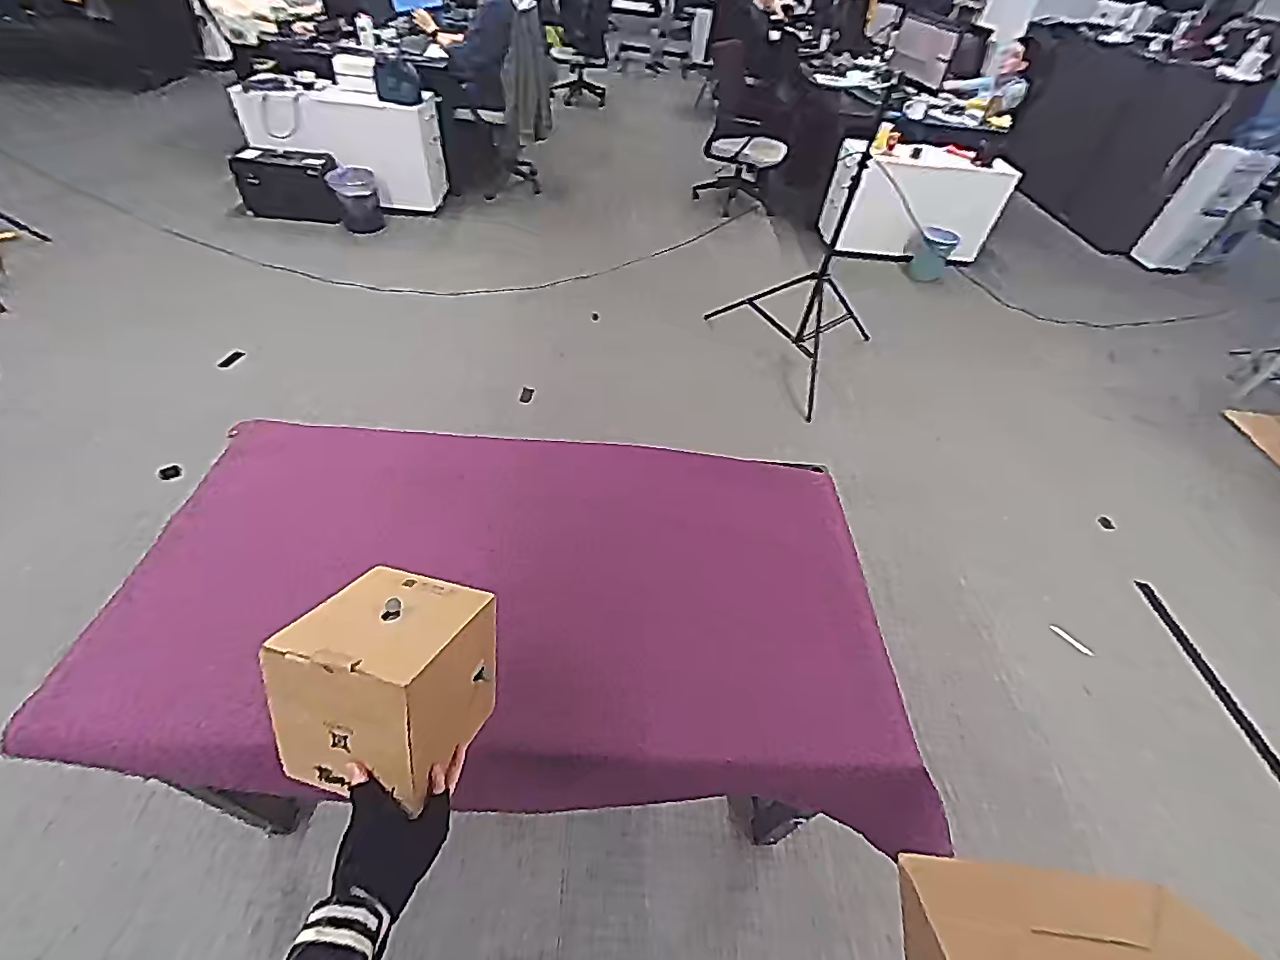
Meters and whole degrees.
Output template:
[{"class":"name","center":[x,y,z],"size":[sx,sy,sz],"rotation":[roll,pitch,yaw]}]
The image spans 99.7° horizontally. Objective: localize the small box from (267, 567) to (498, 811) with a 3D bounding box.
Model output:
[{"class":"small box","center":[-0.274,0.219,0.611],"size":[0.168,0.179,0.176],"rotation":[10,19,12]}]
